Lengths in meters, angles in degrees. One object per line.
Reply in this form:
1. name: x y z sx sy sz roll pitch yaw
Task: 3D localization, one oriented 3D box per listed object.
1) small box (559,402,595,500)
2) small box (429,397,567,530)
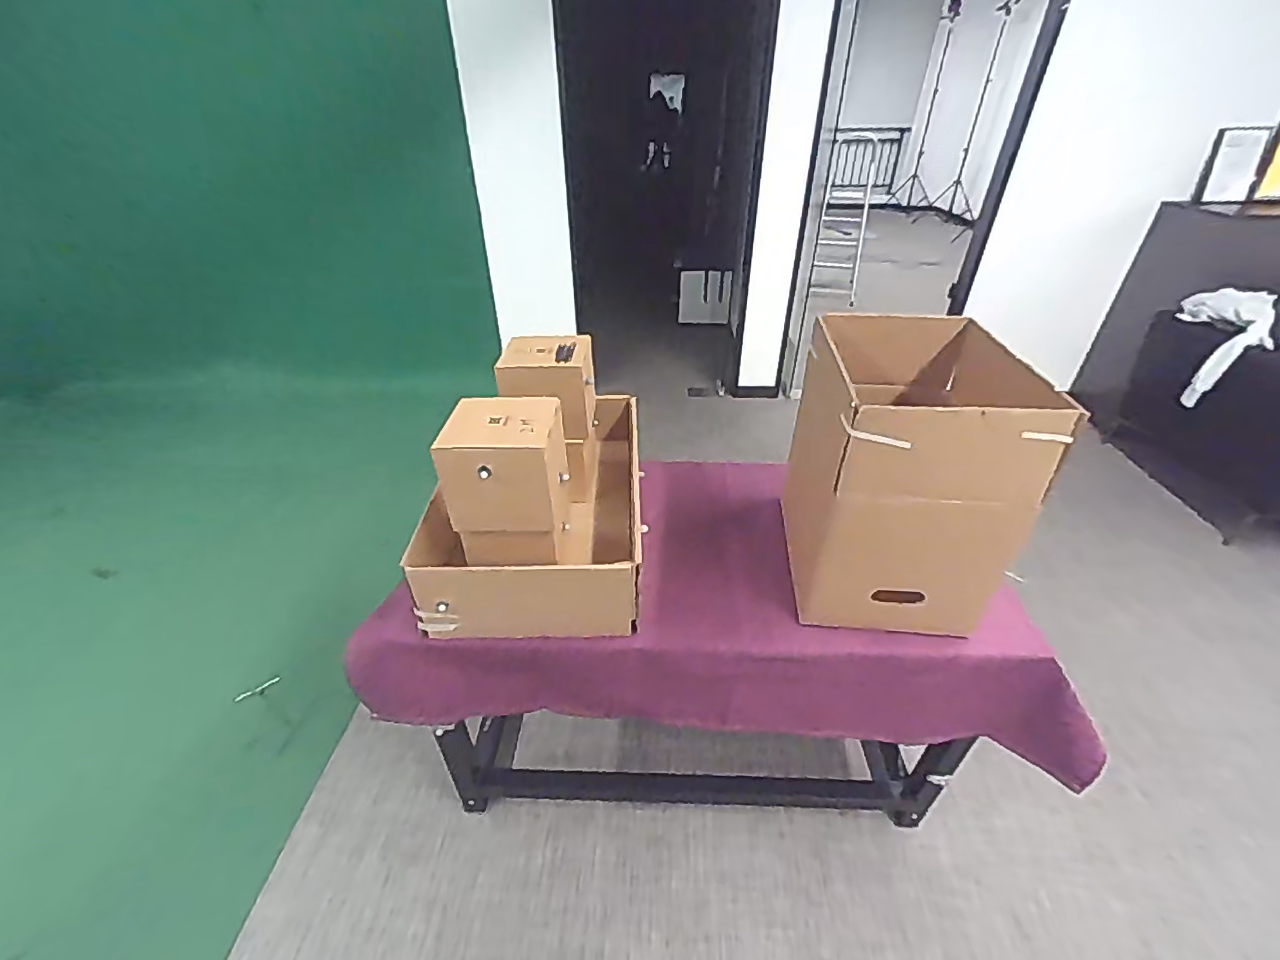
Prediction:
1. small box: -0.199 -0.067 1.257 0.168 0.176 0.179 0 36 3
2. small box: -0.228 -0.028 0.921 0.179 0.176 0.168 0 37 2
